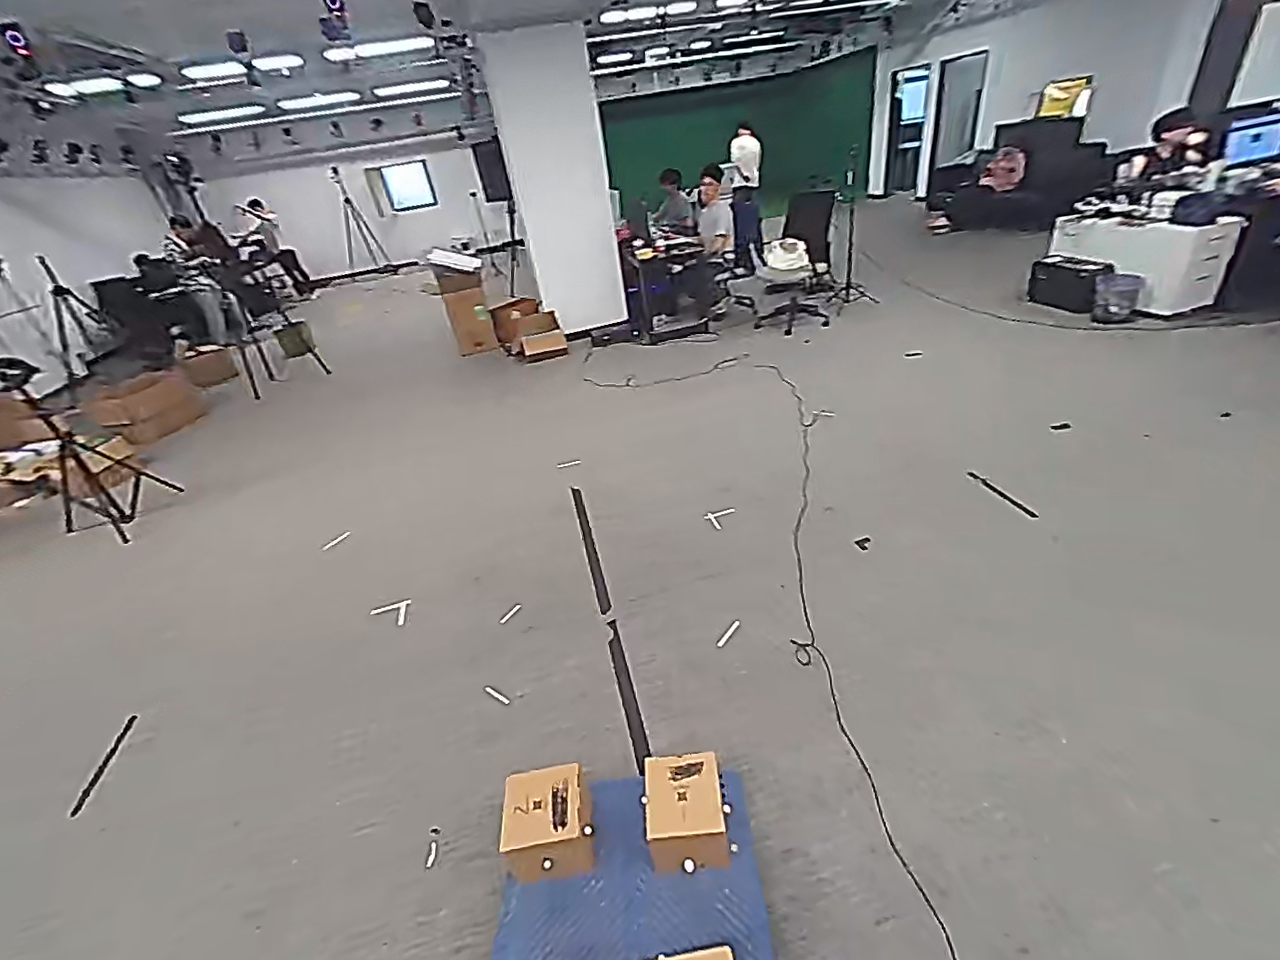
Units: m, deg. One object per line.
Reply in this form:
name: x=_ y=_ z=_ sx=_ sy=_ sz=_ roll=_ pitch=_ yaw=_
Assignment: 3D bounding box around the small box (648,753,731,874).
small box: x=0.110 y=0.756 z=1.229 sx=0.168 sy=0.176 sz=0.179 roll=-8 pitch=33 yaw=4
